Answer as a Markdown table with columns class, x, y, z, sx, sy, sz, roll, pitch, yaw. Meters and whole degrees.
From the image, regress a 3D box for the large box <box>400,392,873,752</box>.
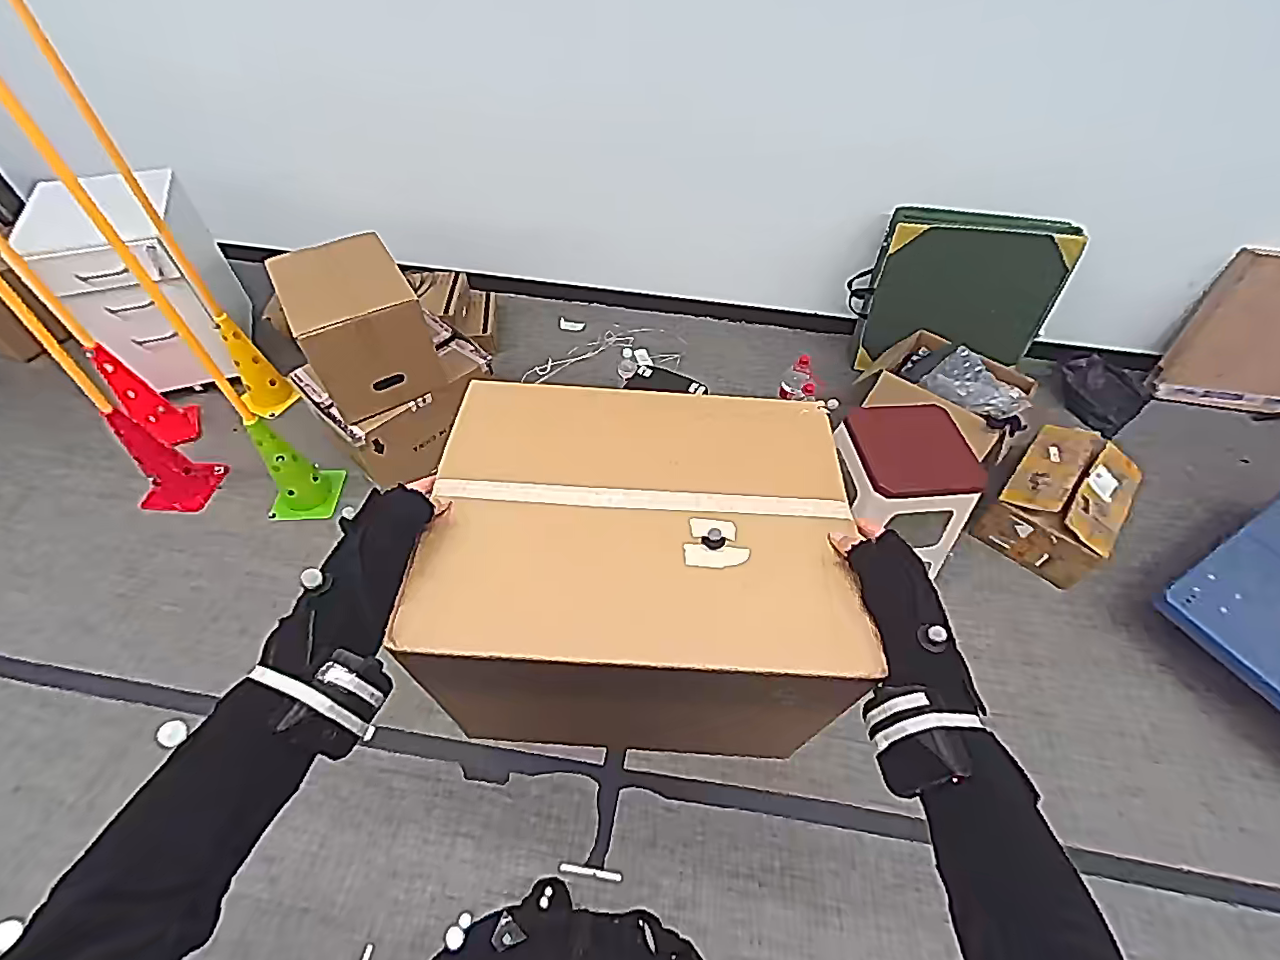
| class | x | y | z | sx | sy | sz | roll | pitch | yaw |
| --- | --- | --- | --- | --- | --- | --- | --- | --- | --- |
| large box | -0.005 | 0.120 | 0.653 | 0.408 | 0.320 | 0.320 | 4 | 52 | 0 |
